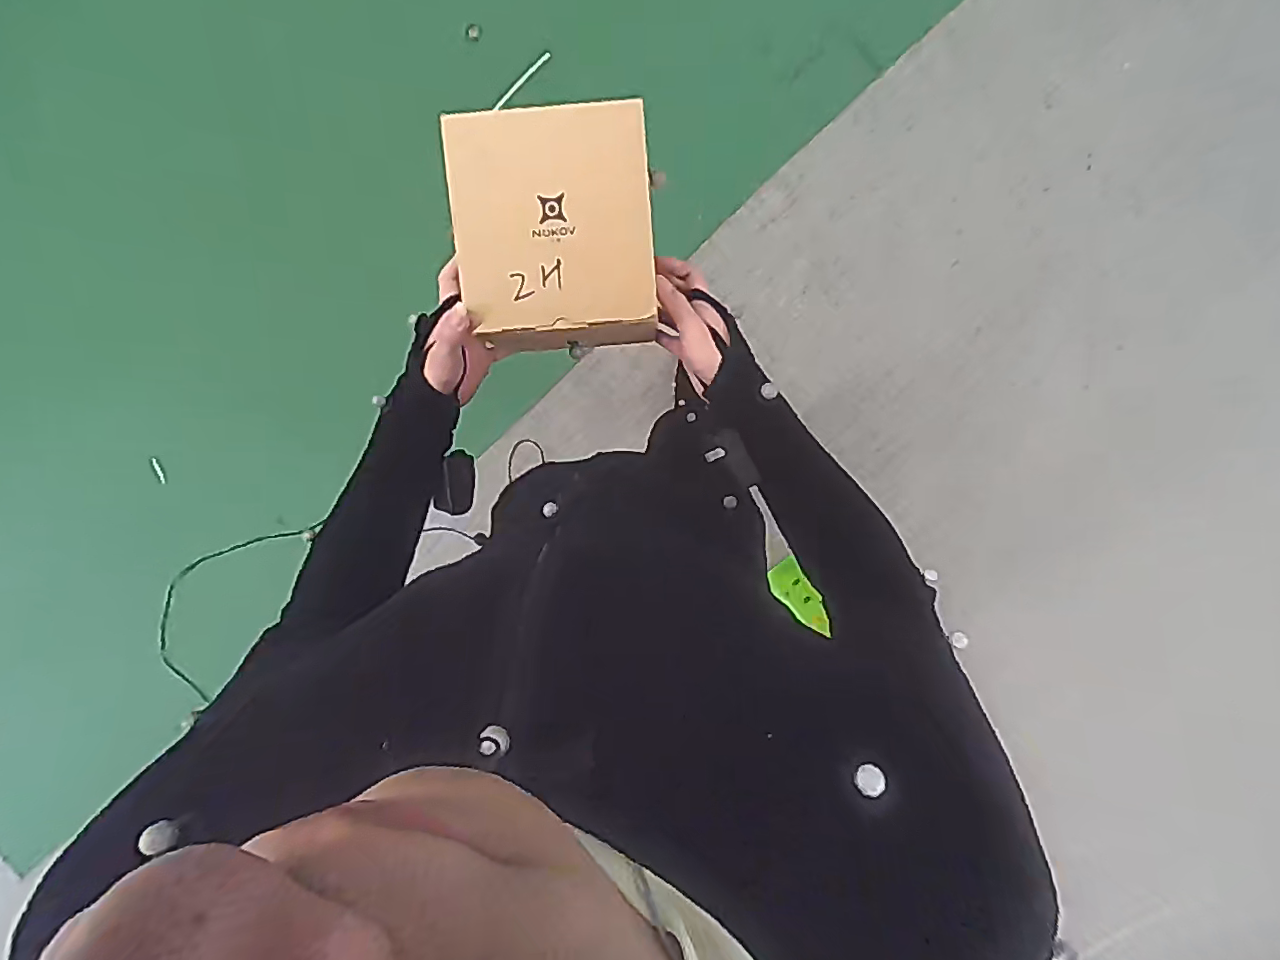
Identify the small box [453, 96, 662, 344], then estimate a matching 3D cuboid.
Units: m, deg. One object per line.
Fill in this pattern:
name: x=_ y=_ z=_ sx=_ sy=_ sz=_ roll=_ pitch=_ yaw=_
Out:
small box: x=-0.068 y=-0.234 z=0.530 sx=0.168 sy=0.176 sz=0.179 roll=-4 pitch=100 yaw=1
